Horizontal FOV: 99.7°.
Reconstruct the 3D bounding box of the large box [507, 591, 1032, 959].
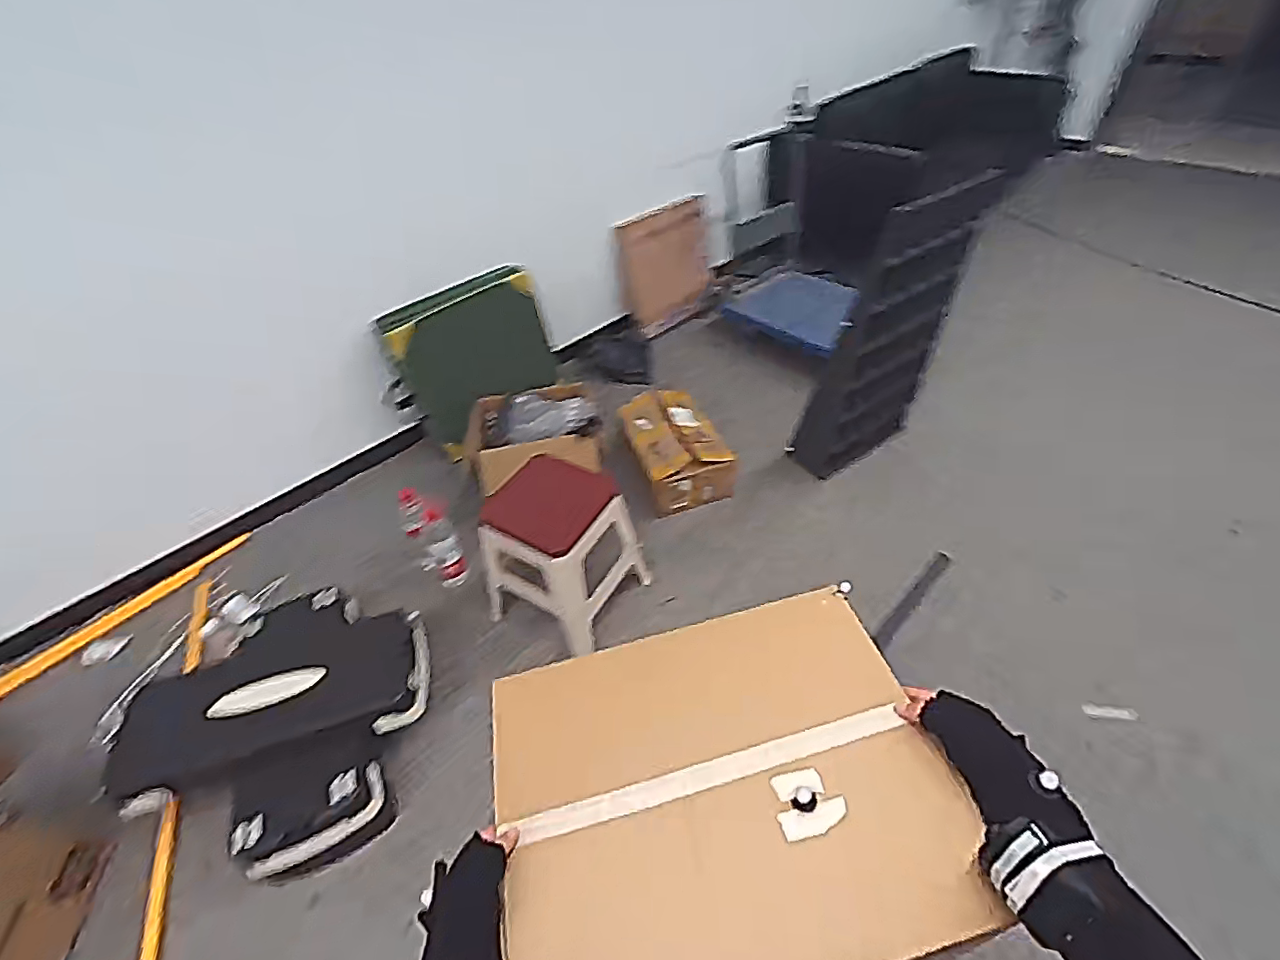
[{"bbox_3d":[0.095,0.384,0.601,0.408,0.320,0.320,-14,42,-5],"label":"large box"}]
